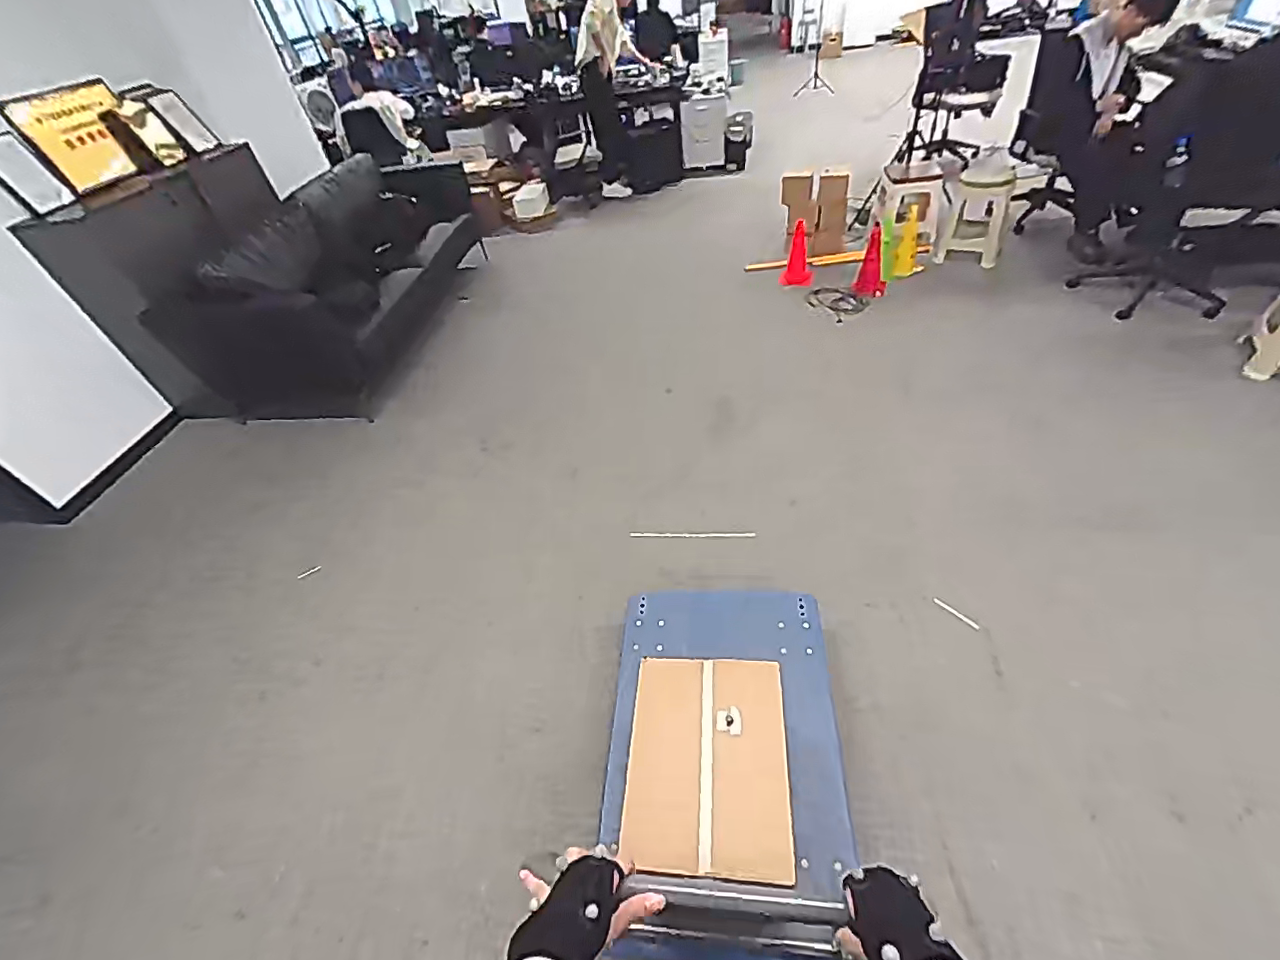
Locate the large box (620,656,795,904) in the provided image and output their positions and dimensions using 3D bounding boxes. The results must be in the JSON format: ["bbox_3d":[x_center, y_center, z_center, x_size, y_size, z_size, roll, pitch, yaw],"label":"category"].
[{"bbox_3d":[0.151,0.648,1.186,0.320,0.320,0.408,-1,43,9],"label":"large box"}]
